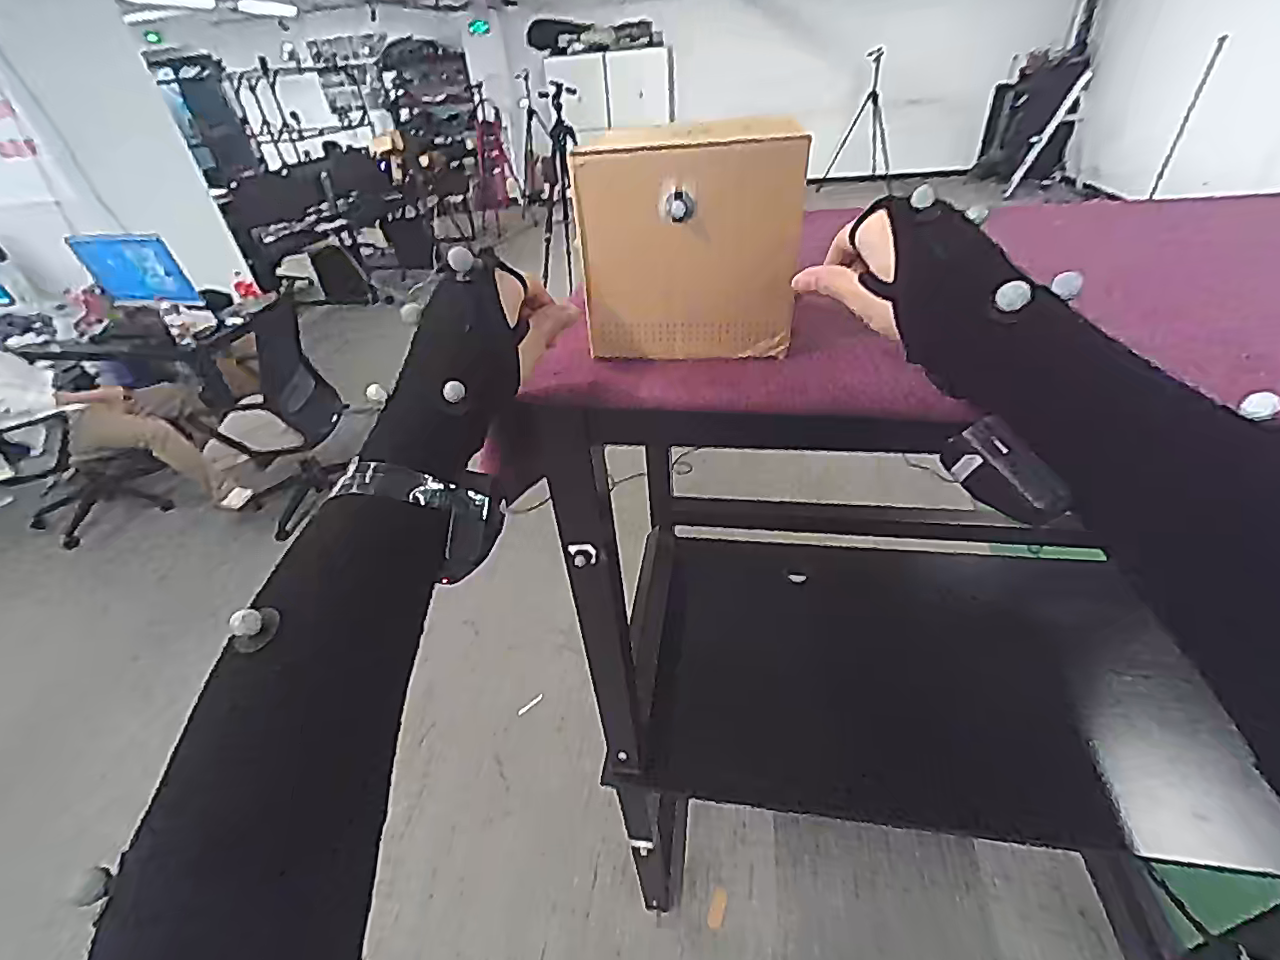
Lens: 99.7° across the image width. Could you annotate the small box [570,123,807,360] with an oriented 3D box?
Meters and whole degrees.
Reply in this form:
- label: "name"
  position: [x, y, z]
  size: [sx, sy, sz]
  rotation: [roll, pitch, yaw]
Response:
- label: "small box"
  position: [0.050, -0.220, 0.499]
  size: [0.179, 0.176, 0.168]
  rotation: [3, 37, 9]
